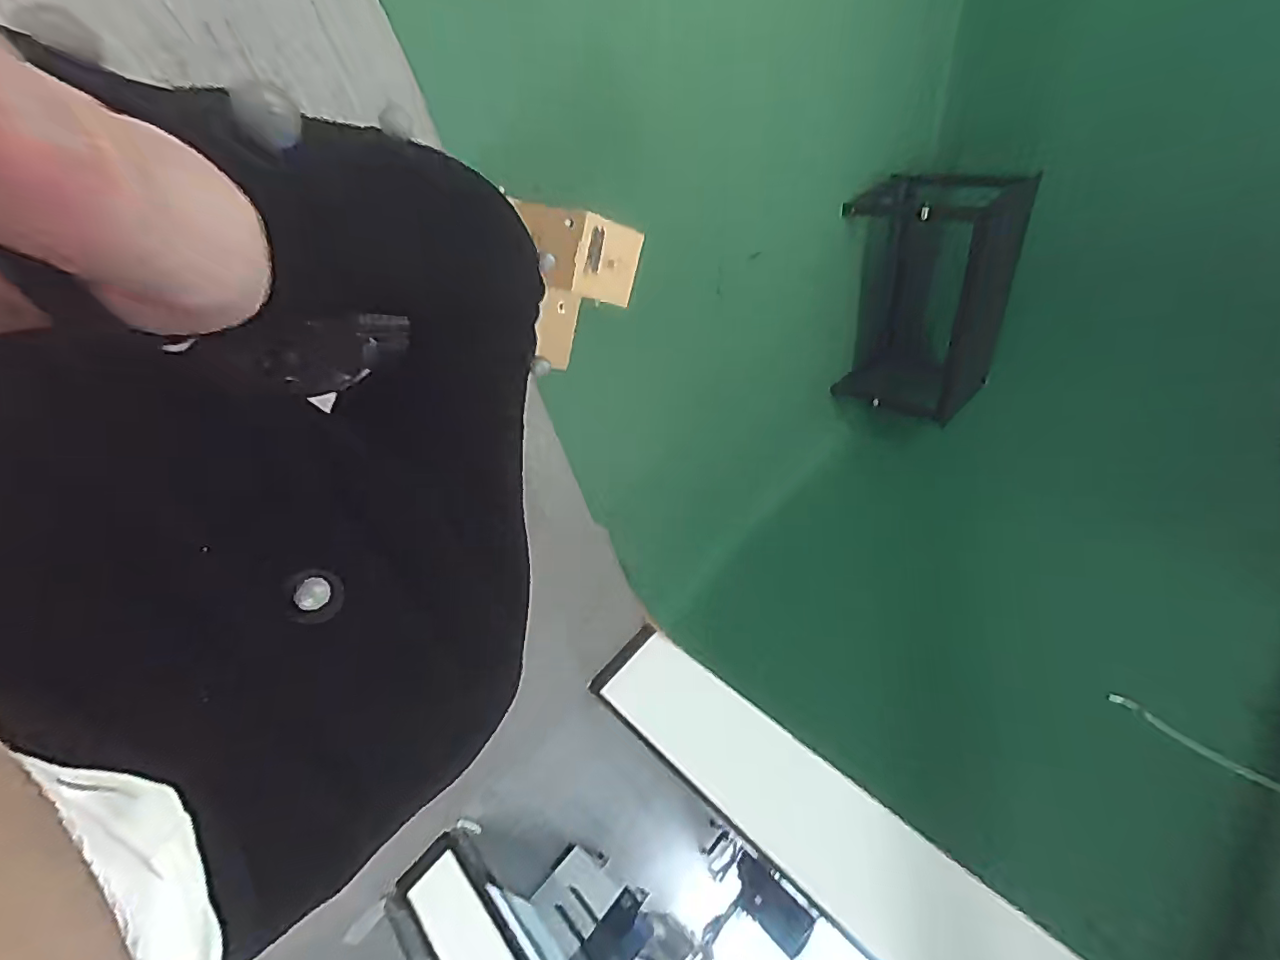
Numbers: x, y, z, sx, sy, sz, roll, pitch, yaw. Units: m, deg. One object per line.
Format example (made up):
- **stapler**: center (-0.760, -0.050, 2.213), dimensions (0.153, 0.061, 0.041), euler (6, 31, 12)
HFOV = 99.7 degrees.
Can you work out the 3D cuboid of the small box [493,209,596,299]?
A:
- **small box**: center (-0.245, -0.568, 1.357), dimensions (0.179, 0.176, 0.168), euler (-1, 114, -48)
